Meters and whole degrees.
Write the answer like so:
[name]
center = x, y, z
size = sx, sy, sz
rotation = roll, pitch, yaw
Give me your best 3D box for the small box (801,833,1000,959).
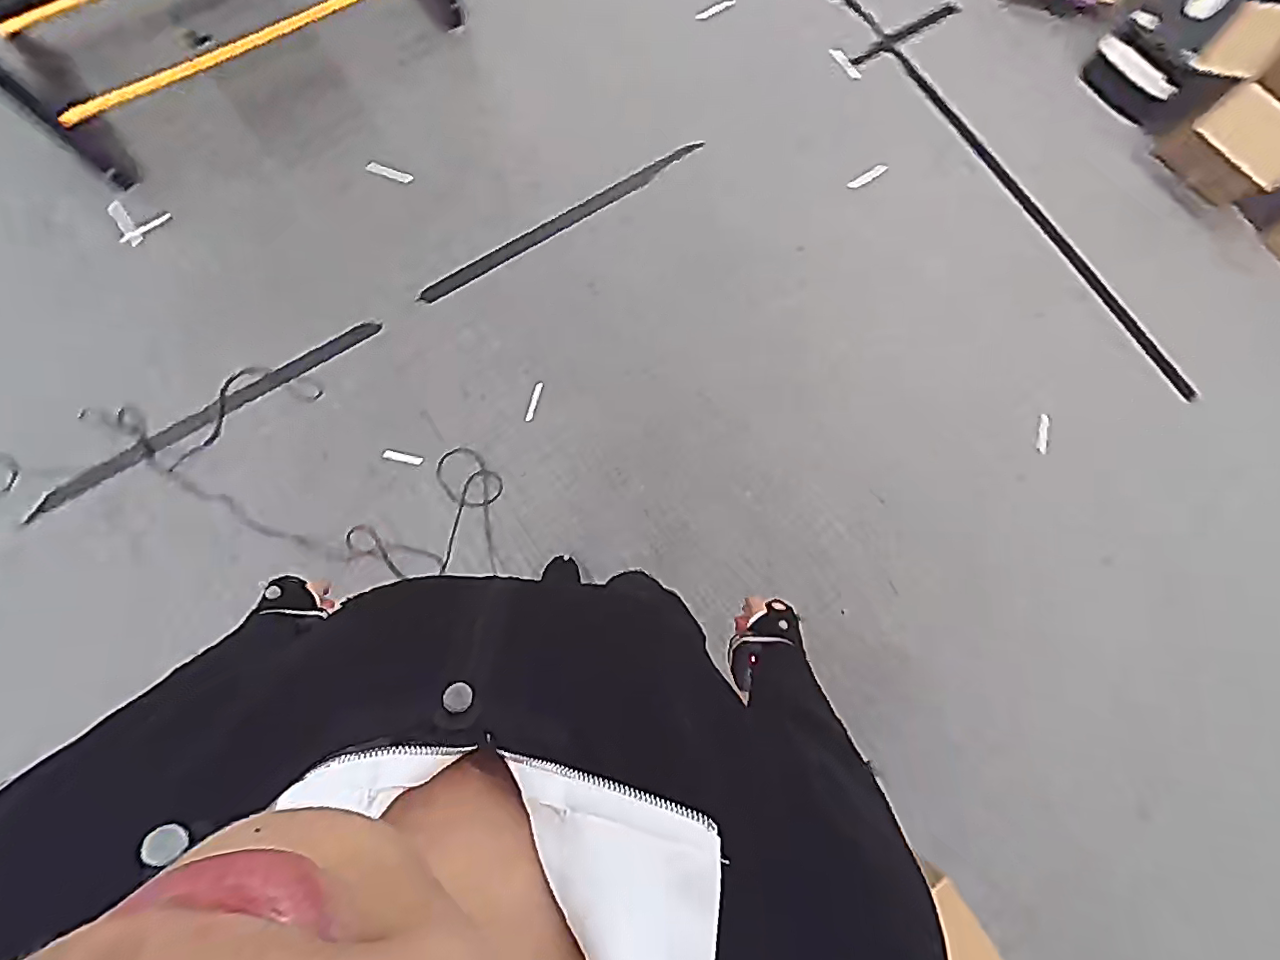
[small box]
center = 0.352, 0.626, 0.723
size = 0.168, 0.176, 0.179
rotation = -32, 81, -13
